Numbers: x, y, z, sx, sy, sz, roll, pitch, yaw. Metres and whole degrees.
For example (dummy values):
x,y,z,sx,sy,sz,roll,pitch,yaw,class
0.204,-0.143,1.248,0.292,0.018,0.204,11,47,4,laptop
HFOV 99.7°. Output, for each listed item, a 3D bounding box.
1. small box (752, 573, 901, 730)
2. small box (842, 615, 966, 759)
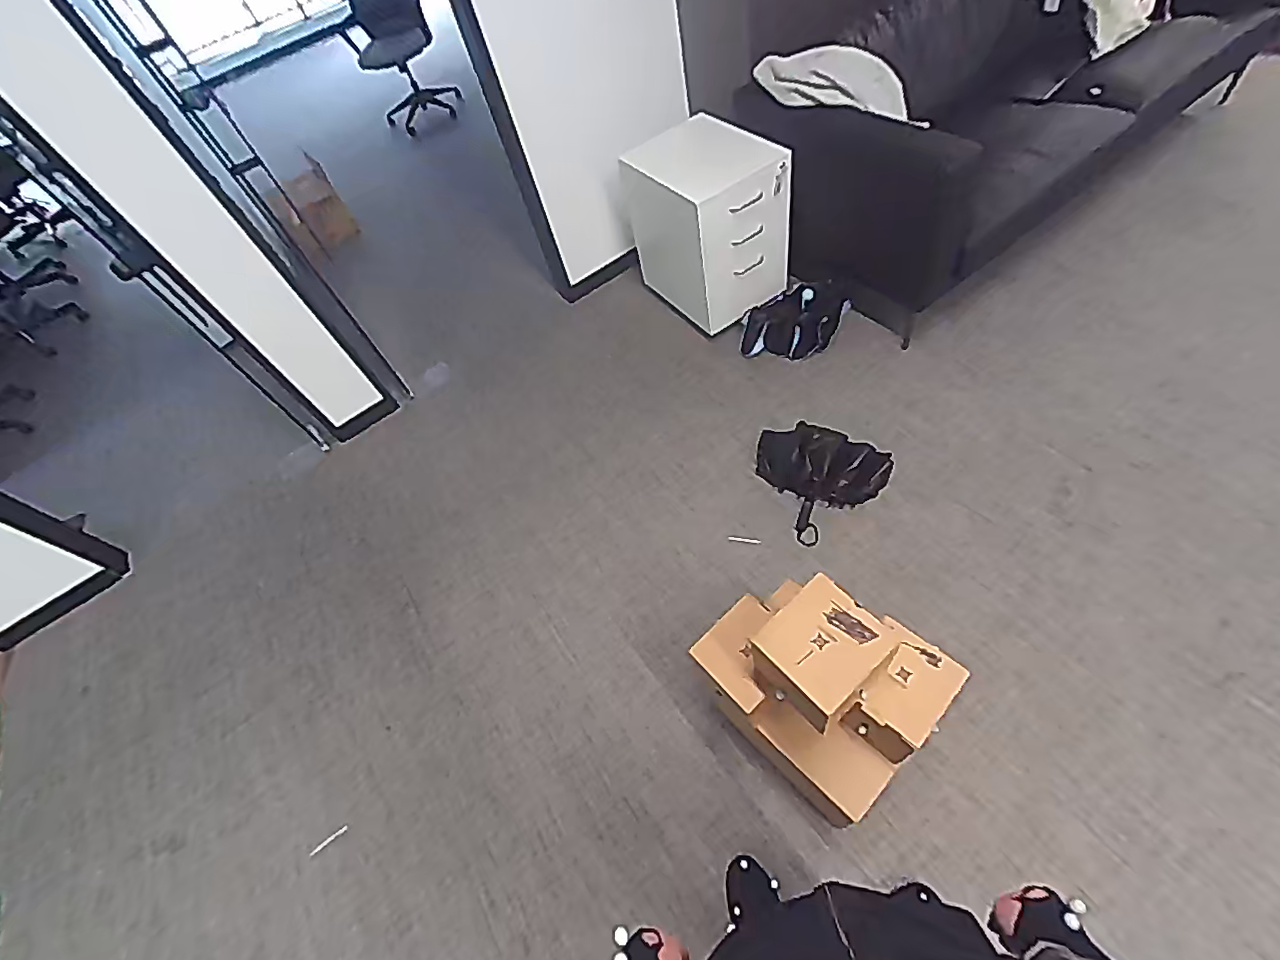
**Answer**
x,y,z,sx,sy,sz,roll,pitch,yaw,class
0.315,0.301,0.940,0.179,0.176,0.168,-39,55,-12,small box
0.481,0.399,1.034,0.179,0.176,0.168,-43,56,-17,small box
